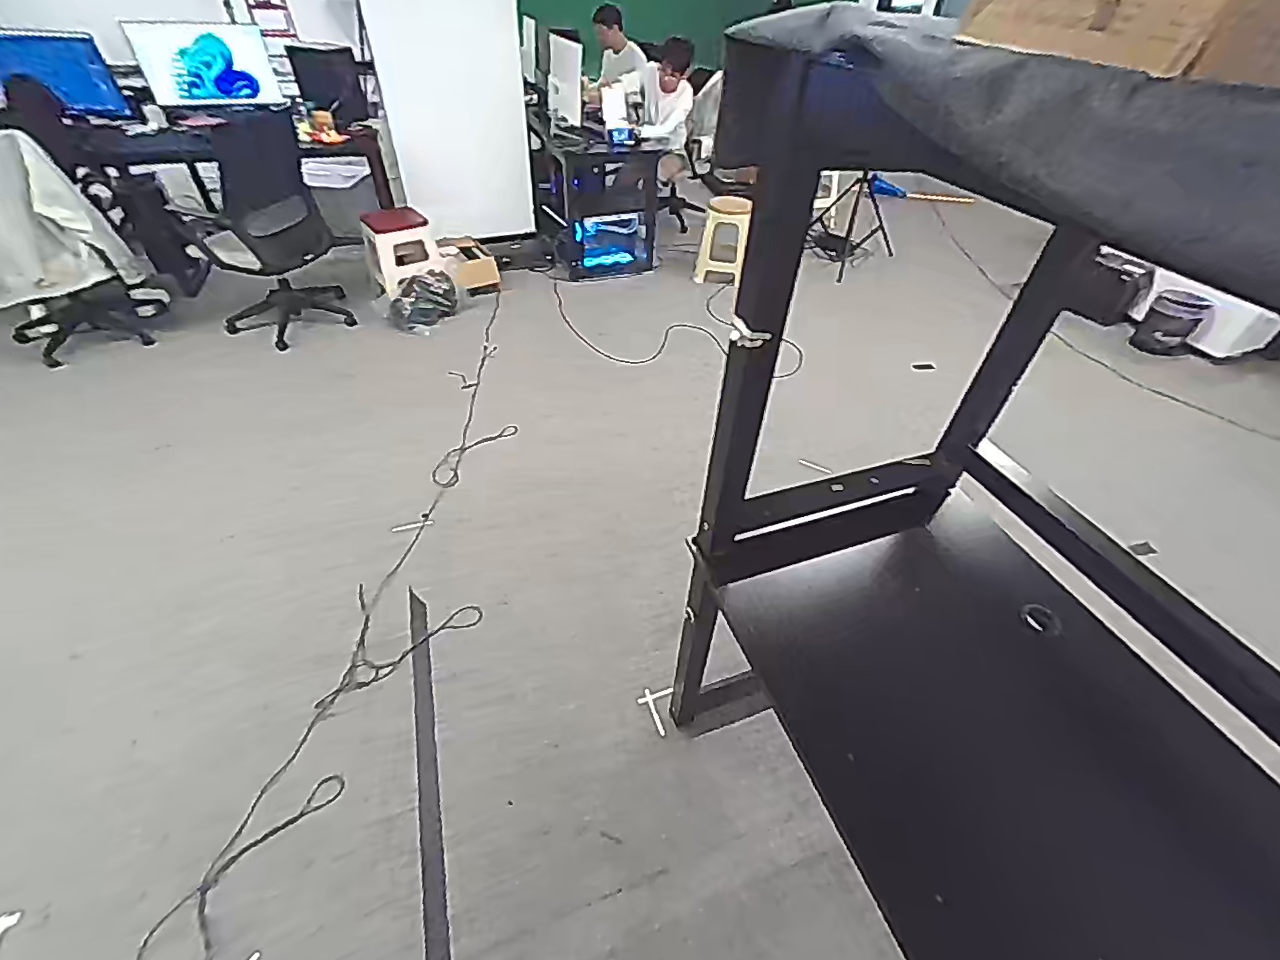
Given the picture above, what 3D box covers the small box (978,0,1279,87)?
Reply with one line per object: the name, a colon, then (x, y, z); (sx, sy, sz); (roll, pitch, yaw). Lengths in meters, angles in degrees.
small box: (0.342, -0.336, 0.302); (0.179, 0.176, 0.168); (-12, 47, -17)
